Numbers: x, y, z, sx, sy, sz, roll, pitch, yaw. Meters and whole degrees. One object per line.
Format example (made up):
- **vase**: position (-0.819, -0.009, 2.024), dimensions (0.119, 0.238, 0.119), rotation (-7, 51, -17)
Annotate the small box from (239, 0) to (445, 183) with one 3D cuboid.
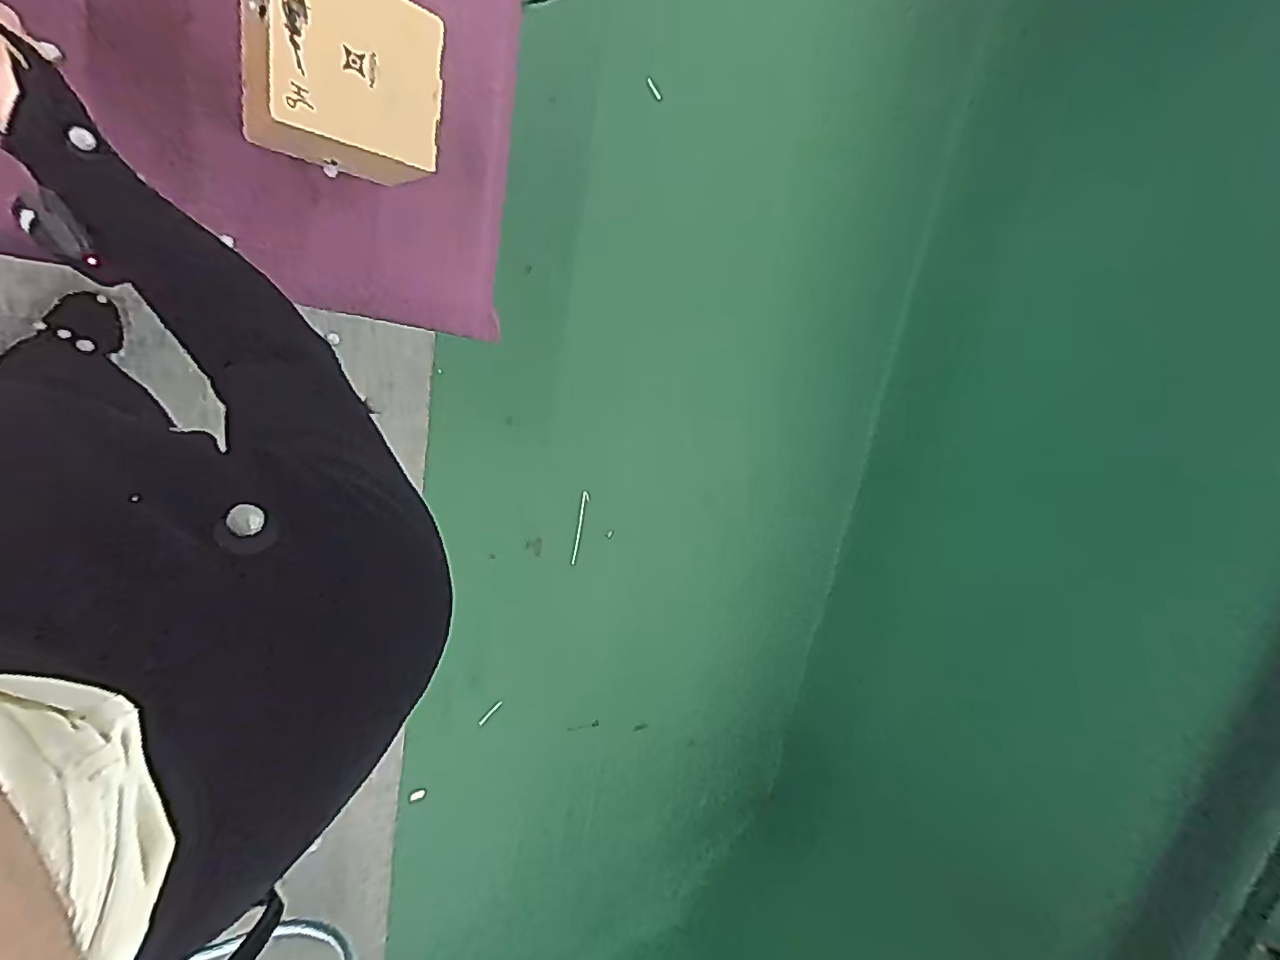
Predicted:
- **small box**: position (-0.359, -0.473, 0.650), dimensions (0.179, 0.176, 0.168), rotation (-4, 109, -44)
